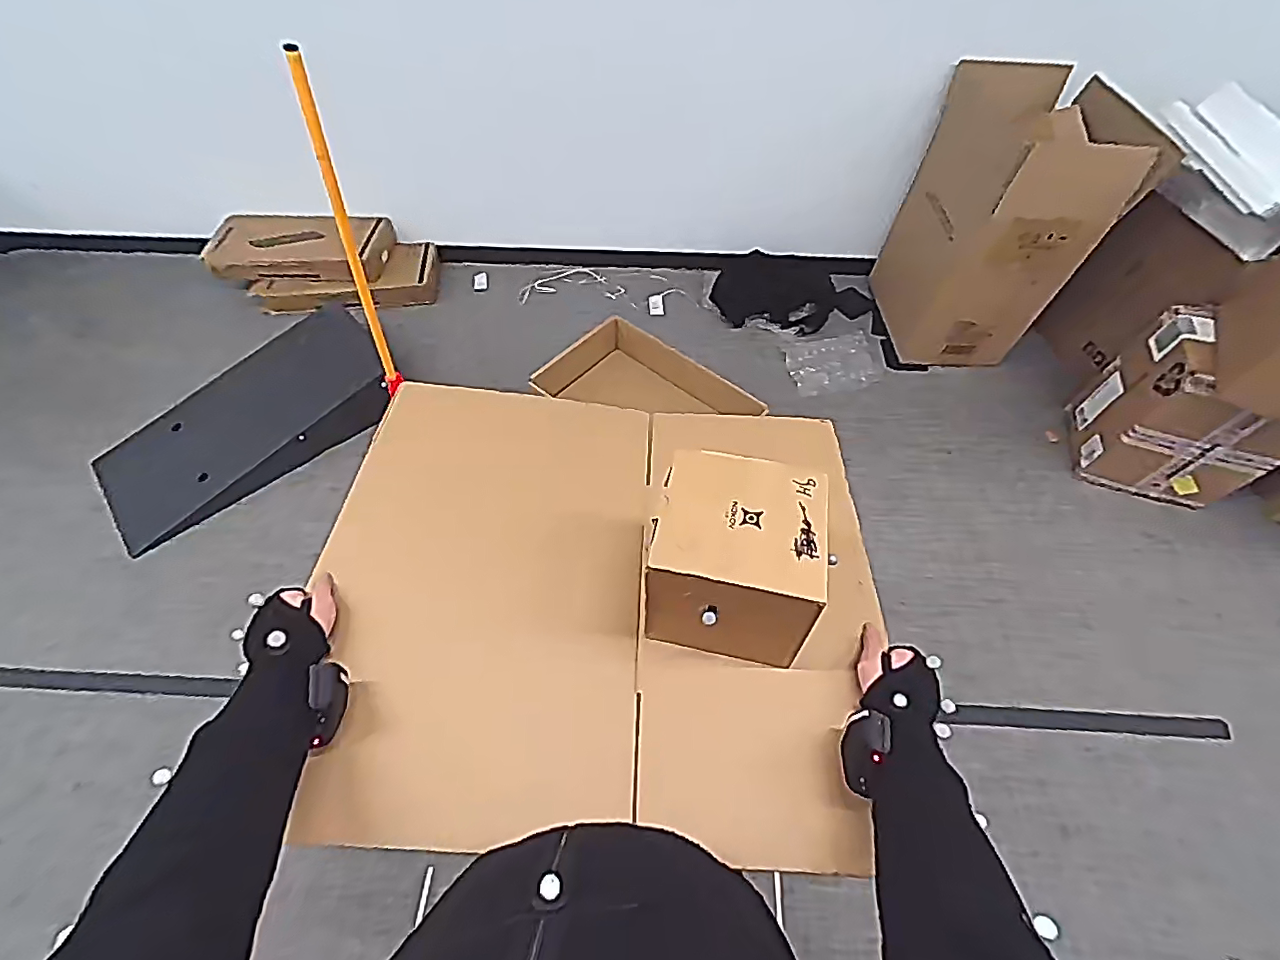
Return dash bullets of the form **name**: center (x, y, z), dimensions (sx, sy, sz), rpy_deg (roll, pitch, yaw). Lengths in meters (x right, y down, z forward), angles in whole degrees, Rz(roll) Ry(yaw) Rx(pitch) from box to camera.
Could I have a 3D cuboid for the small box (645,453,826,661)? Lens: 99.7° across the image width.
- **small box**: center (0.109, 0.094, 0.634), dimensions (0.179, 0.176, 0.168), rpy_deg (9, 51, 9)
